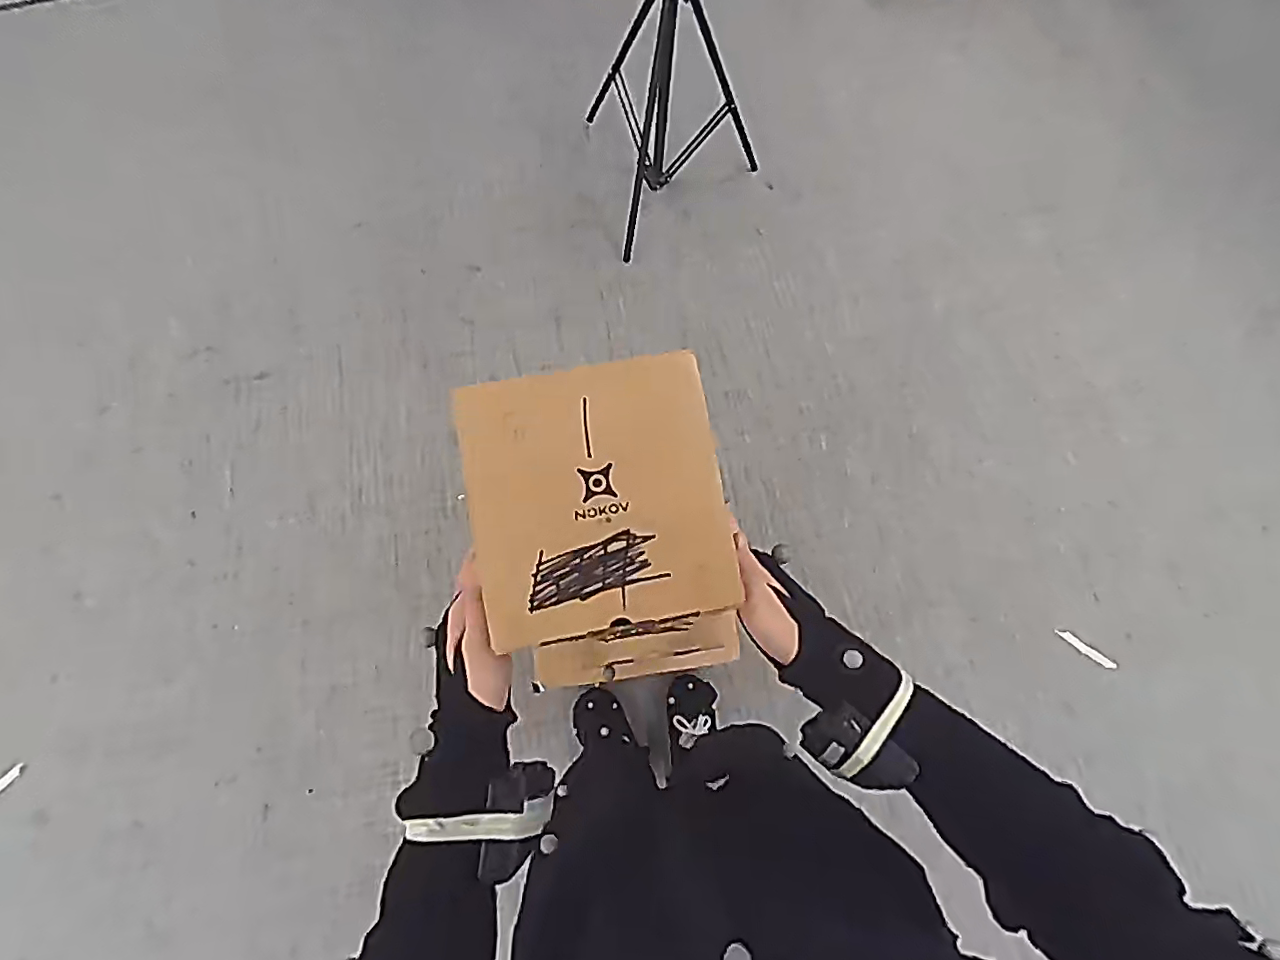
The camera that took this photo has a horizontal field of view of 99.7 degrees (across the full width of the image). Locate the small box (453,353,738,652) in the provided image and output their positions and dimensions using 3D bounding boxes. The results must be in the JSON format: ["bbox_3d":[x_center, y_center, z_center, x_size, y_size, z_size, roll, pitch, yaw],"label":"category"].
[{"bbox_3d":[-0.033,0.020,0.431,0.168,0.176,0.179,-10,83,-4],"label":"small box"}]

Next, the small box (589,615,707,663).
[{"bbox_3d":[-0.002,0.184,0.851,0.168,0.176,0.179,-9,74,-5],"label":"small box"}]
